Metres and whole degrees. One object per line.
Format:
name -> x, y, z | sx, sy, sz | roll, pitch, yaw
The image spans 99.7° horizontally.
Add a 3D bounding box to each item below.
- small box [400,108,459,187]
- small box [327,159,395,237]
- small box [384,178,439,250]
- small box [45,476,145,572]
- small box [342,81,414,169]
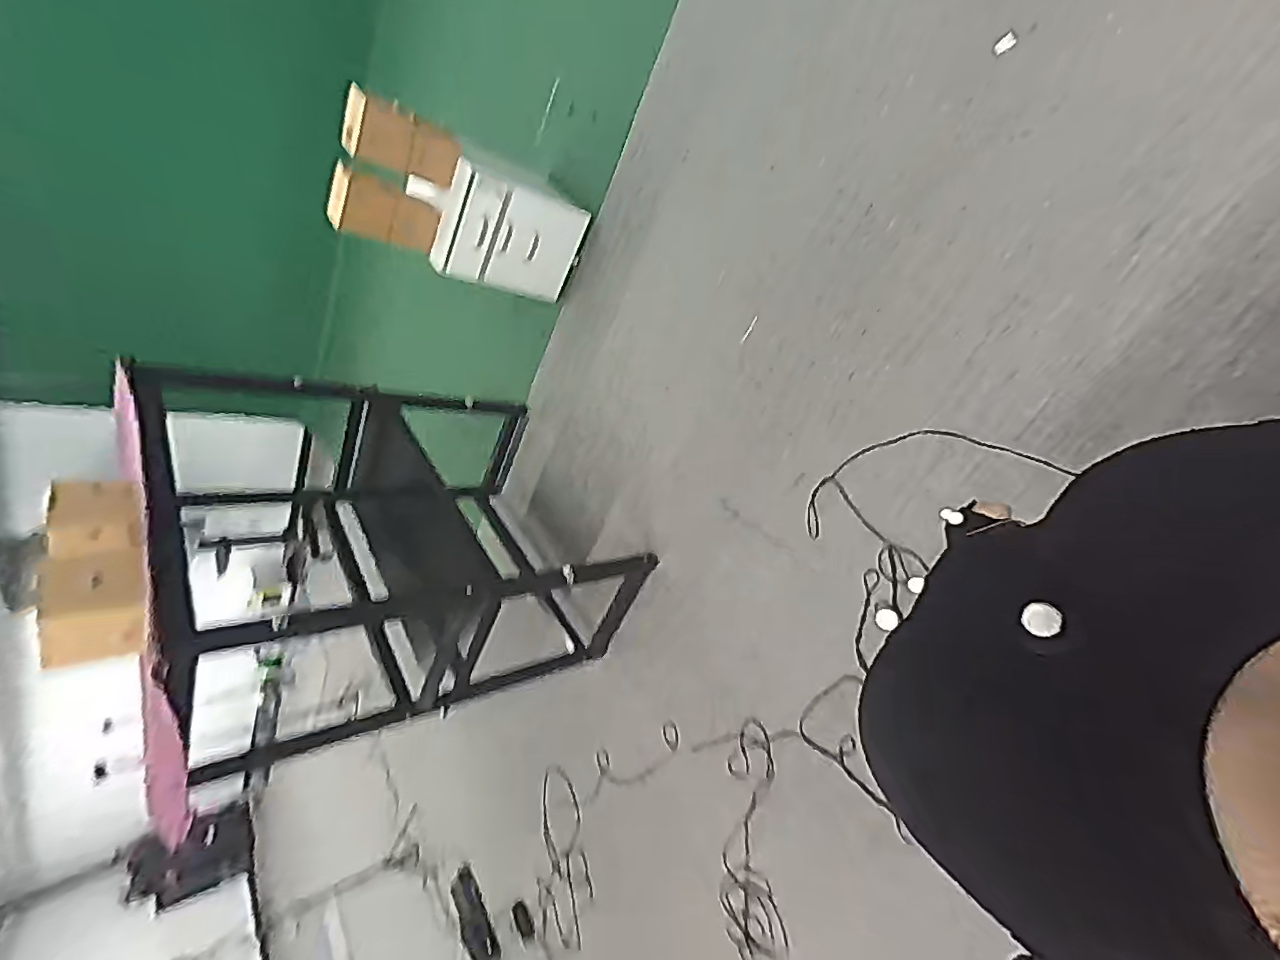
small box -> -0.775, -1.196, 1.950 | 0.168, 0.176, 0.179 | 53, 126, 29
small box -> -1.009, -1.014, 1.961 | 0.168, 0.176, 0.179 | 51, 122, 31
small box -> -0.893, -1.015, 2.077 | 0.168, 0.176, 0.179 | 50, 123, 32
small box -> -1.376, 0.105, 1.370 | 0.168, 0.176, 0.179 | 49, 124, 34
small box -> -0.886, -1.193, 1.829 | 0.168, 0.176, 0.179 | 52, 125, 30
